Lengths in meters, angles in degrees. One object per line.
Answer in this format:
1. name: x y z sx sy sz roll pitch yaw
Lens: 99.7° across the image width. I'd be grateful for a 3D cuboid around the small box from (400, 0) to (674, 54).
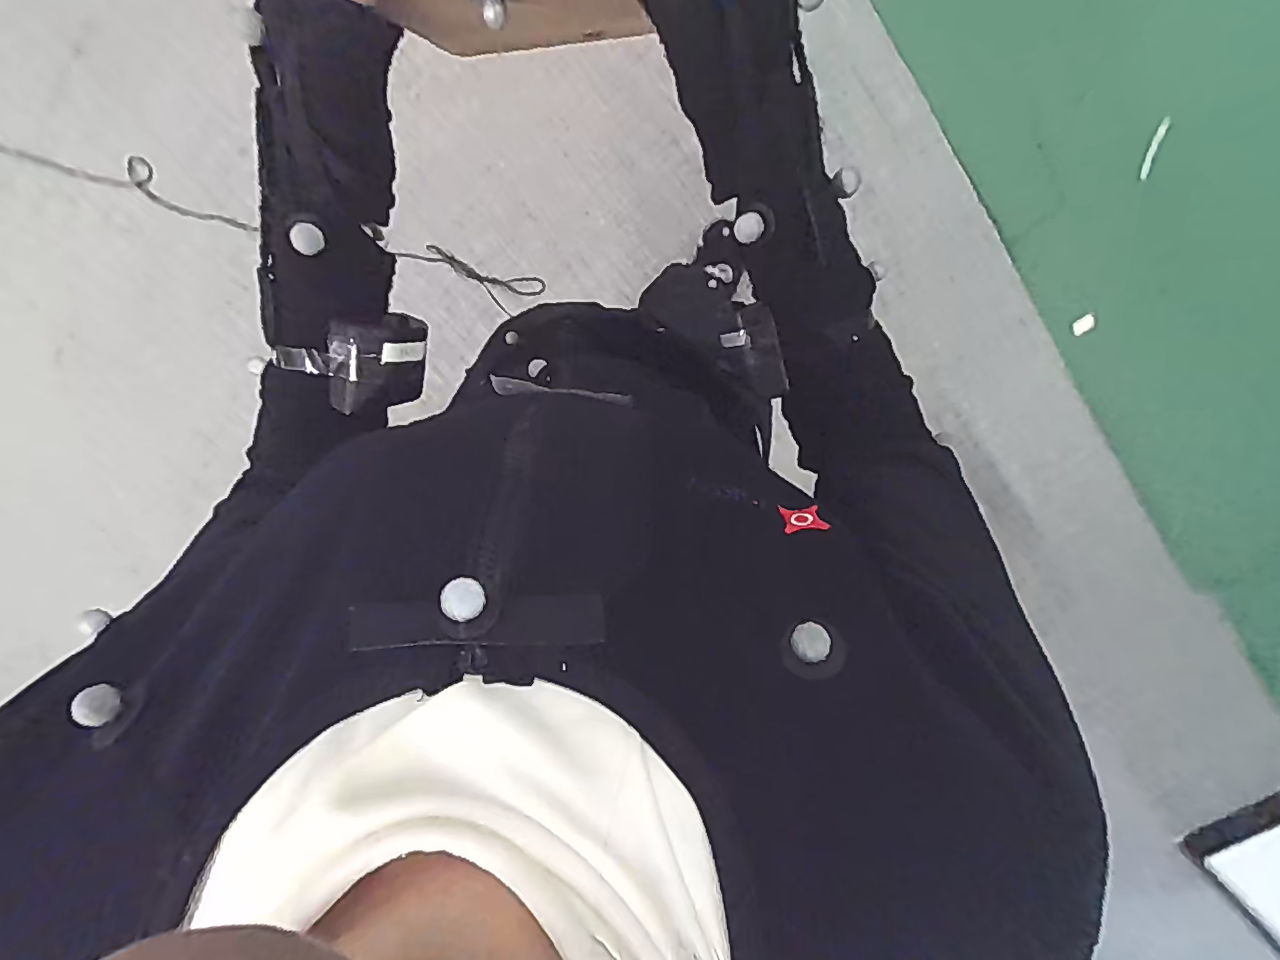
1. small box: -0.067 -0.347 0.268 0.168 0.176 0.179 -5 119 4
